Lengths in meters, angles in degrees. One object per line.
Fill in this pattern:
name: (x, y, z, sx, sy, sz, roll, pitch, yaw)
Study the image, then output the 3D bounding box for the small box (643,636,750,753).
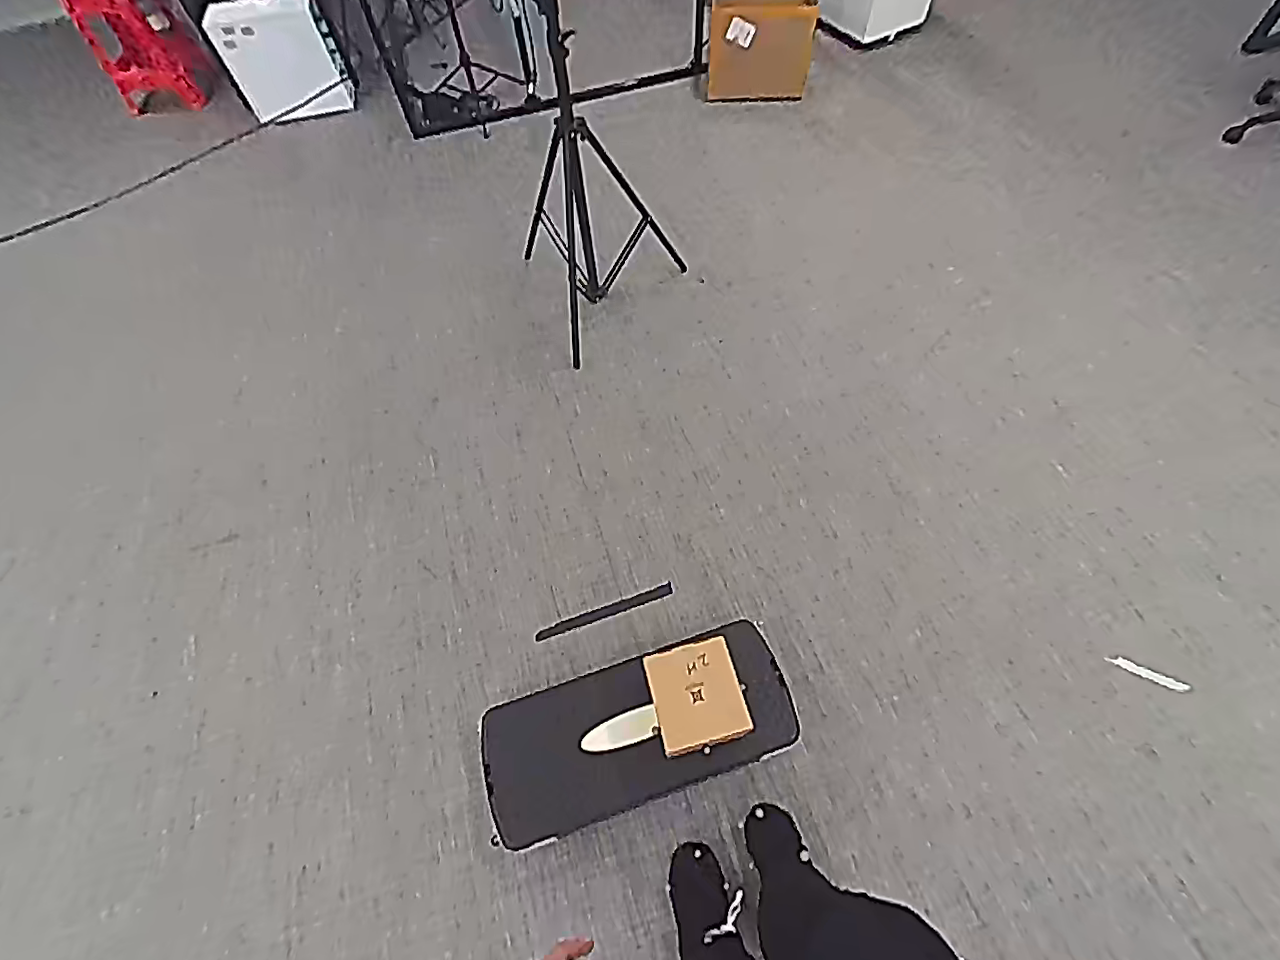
small box: (0.108, 0.436, 1.083, 0.168, 0.176, 0.179, -14, 60, -5)
